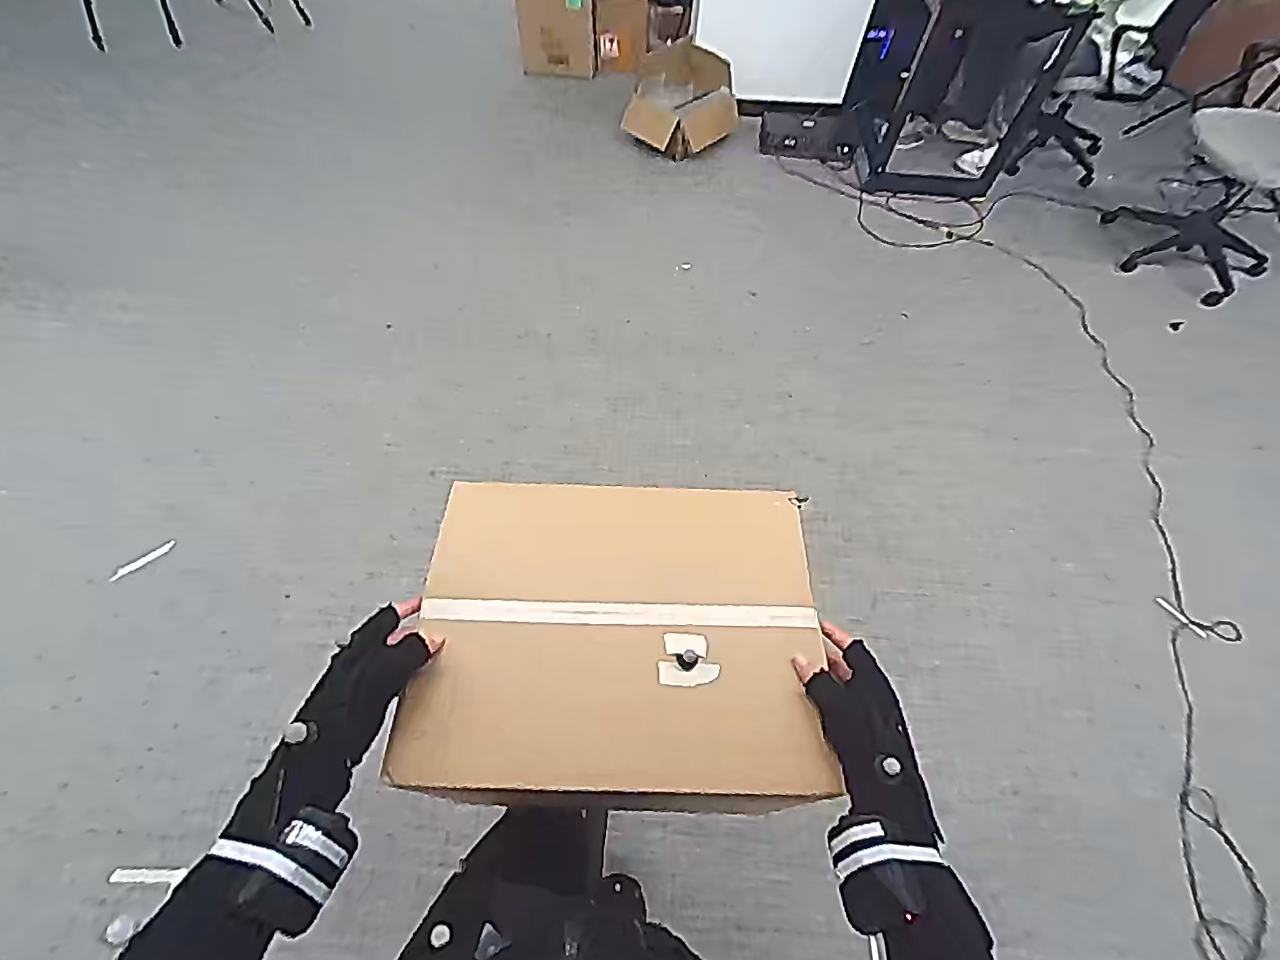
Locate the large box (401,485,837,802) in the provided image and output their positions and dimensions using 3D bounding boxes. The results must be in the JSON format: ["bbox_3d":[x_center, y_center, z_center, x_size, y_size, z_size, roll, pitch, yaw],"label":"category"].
[{"bbox_3d":[-0.024,0.221,0.690,0.408,0.320,0.320,2,57,-1],"label":"large box"}]
